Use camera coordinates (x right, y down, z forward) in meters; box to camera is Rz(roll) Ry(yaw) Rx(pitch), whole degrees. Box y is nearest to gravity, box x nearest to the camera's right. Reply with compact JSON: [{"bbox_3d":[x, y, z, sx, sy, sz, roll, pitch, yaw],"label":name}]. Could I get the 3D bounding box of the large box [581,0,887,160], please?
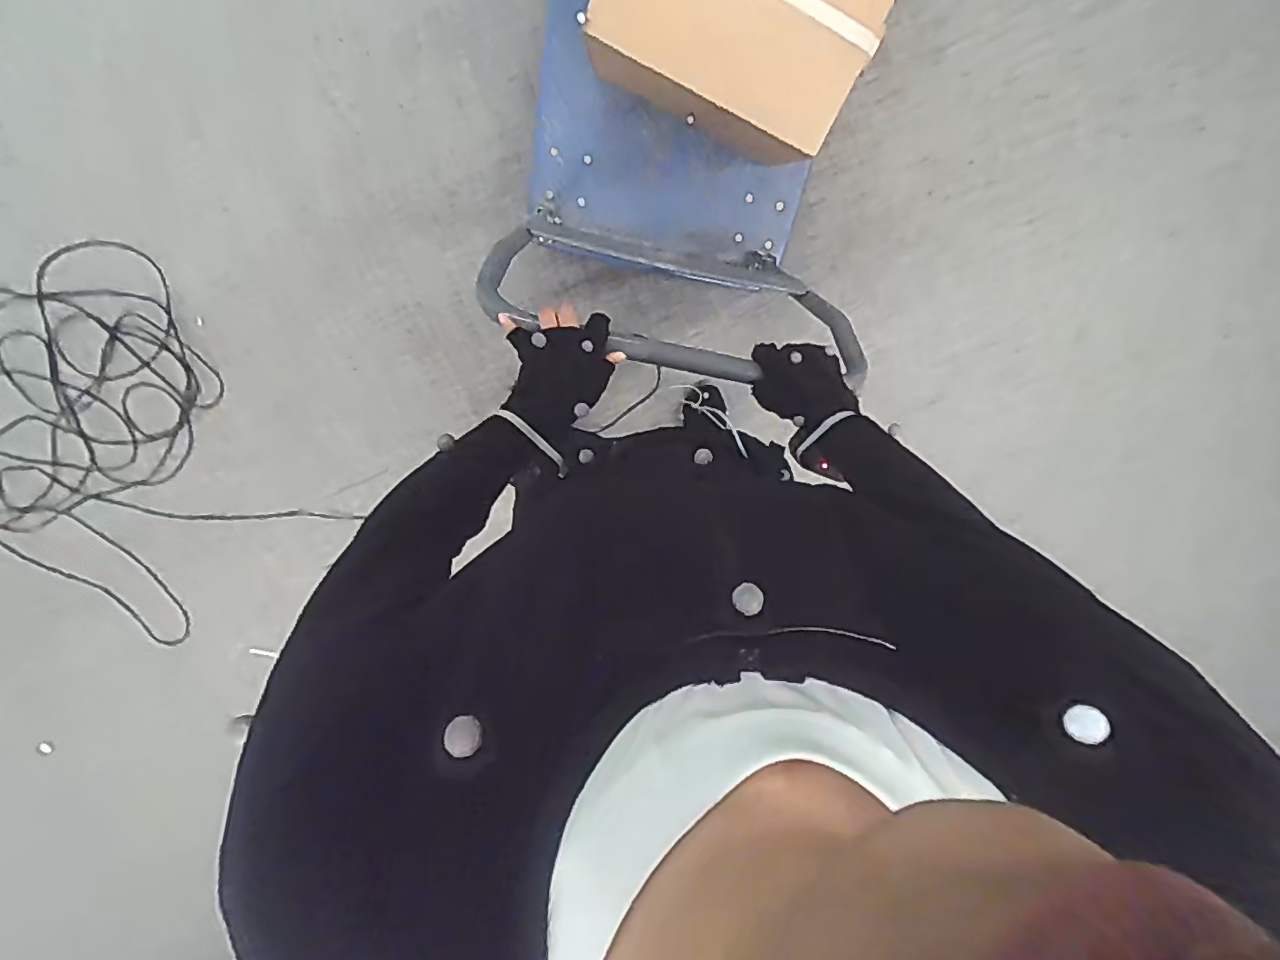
[{"bbox_3d":[0.152,-0.783,0.900,0.408,0.320,0.320,21,115,-11],"label":"large box"}]
